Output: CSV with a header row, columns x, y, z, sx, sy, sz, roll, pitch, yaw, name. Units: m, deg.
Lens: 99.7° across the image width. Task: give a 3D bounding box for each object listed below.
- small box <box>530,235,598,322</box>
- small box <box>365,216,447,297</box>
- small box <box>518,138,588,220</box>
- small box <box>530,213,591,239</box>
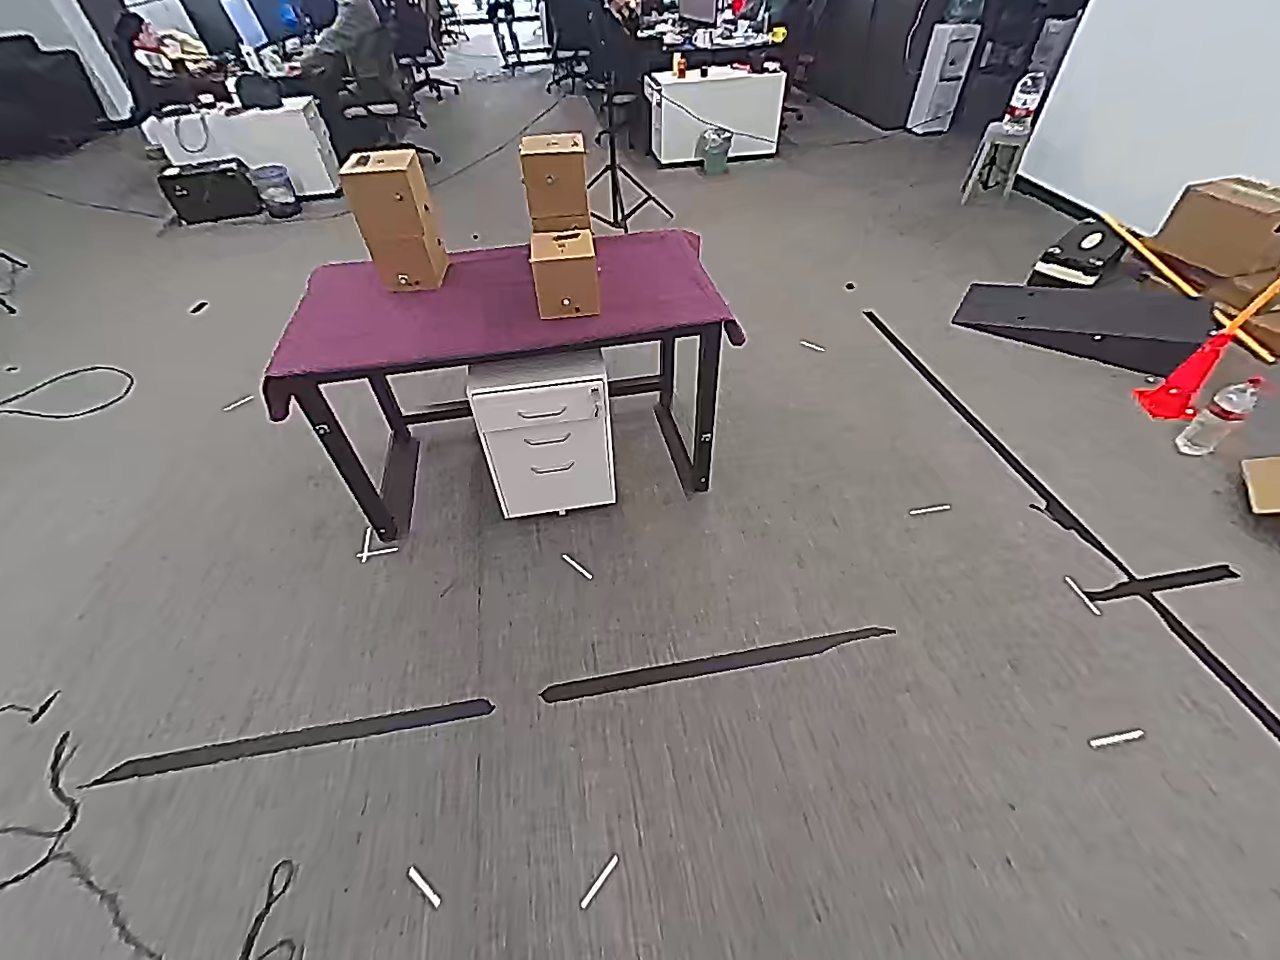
x,y,z,sx,sy,sz,roll,pitch,yaw,name
-0.208,-0.557,1.498,0.168,0.176,0.179,-7,46,-4,small box
-0.696,-0.673,1.631,0.168,0.176,0.179,-6,48,-2,small box
-0.249,-0.873,1.576,0.179,0.176,0.168,-6,47,-2,small box
-0.243,-0.760,1.695,0.179,0.176,0.168,-7,47,-4,small box
